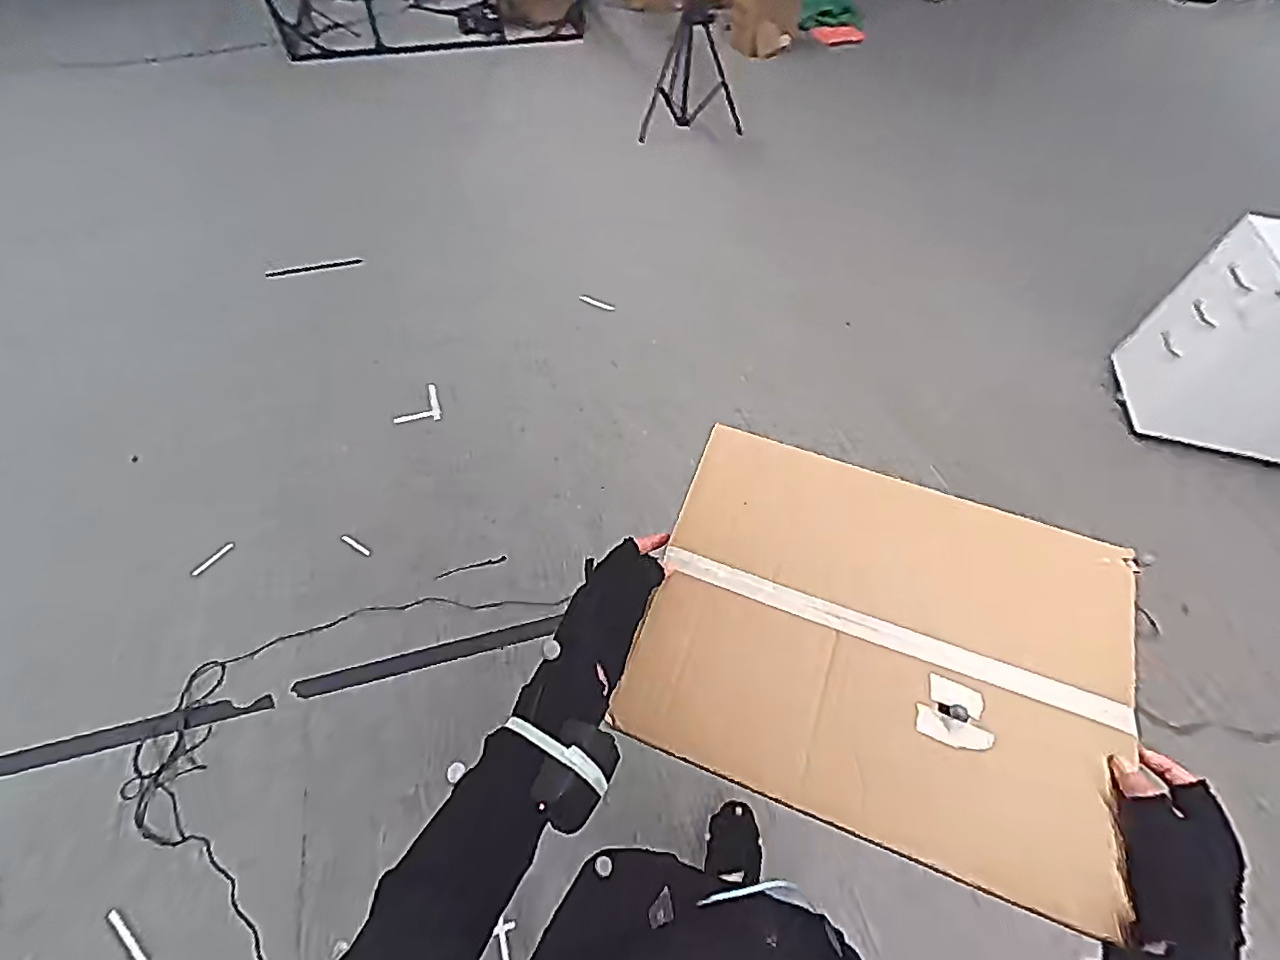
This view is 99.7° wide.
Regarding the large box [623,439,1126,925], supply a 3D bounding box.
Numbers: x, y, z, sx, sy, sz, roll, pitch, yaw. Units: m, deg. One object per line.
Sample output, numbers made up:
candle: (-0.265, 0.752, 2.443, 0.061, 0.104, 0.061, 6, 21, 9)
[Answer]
large box: (0.222, 0.206, 0.622, 0.408, 0.320, 0.320, 19, 67, 10)
